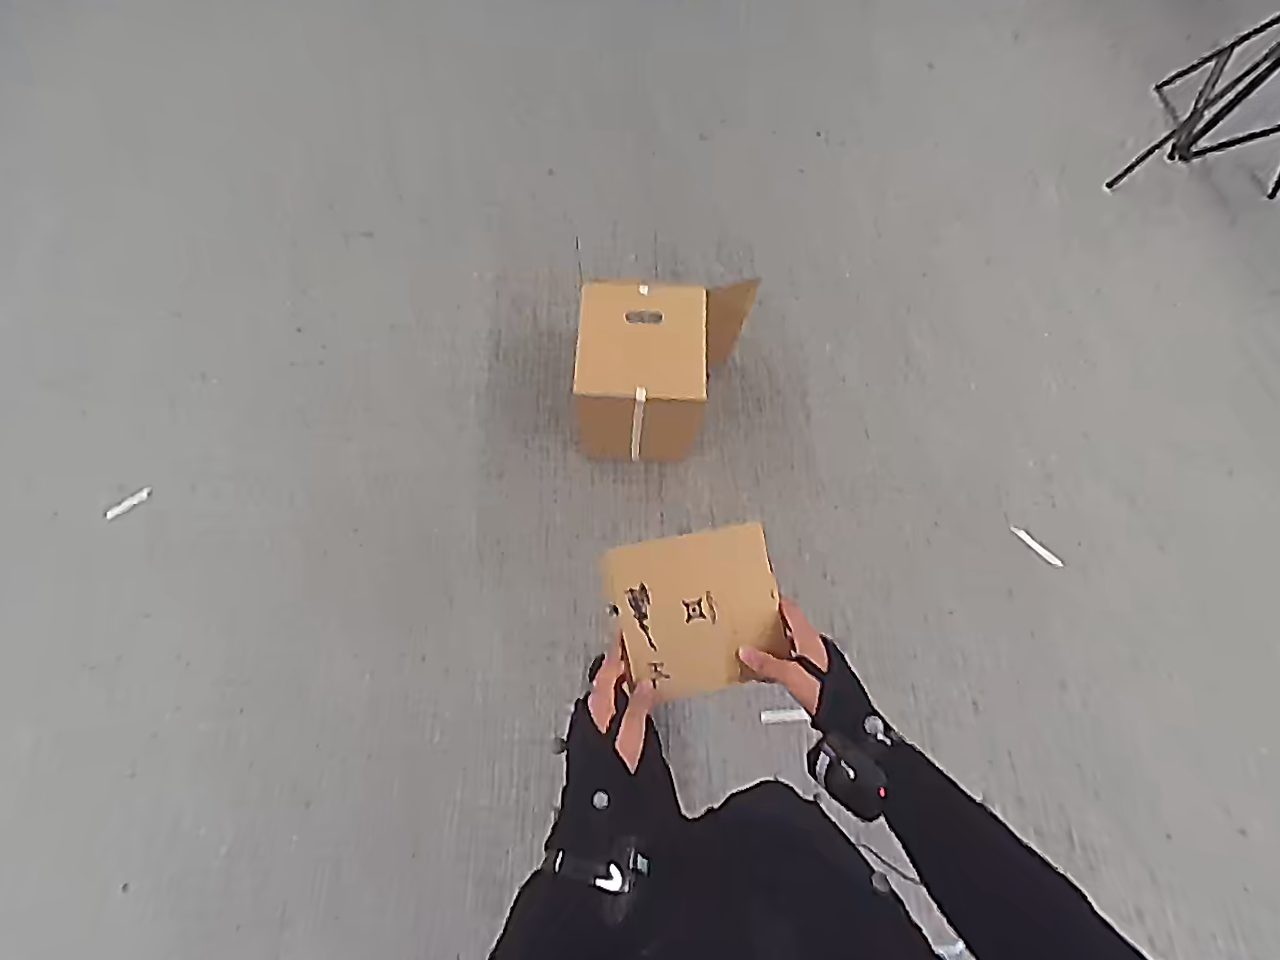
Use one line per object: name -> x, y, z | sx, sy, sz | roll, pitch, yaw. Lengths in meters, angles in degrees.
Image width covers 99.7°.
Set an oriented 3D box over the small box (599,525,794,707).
small box -> 0.054, 0.154, 0.646 | 0.179, 0.176, 0.168 | -9, 79, -10
